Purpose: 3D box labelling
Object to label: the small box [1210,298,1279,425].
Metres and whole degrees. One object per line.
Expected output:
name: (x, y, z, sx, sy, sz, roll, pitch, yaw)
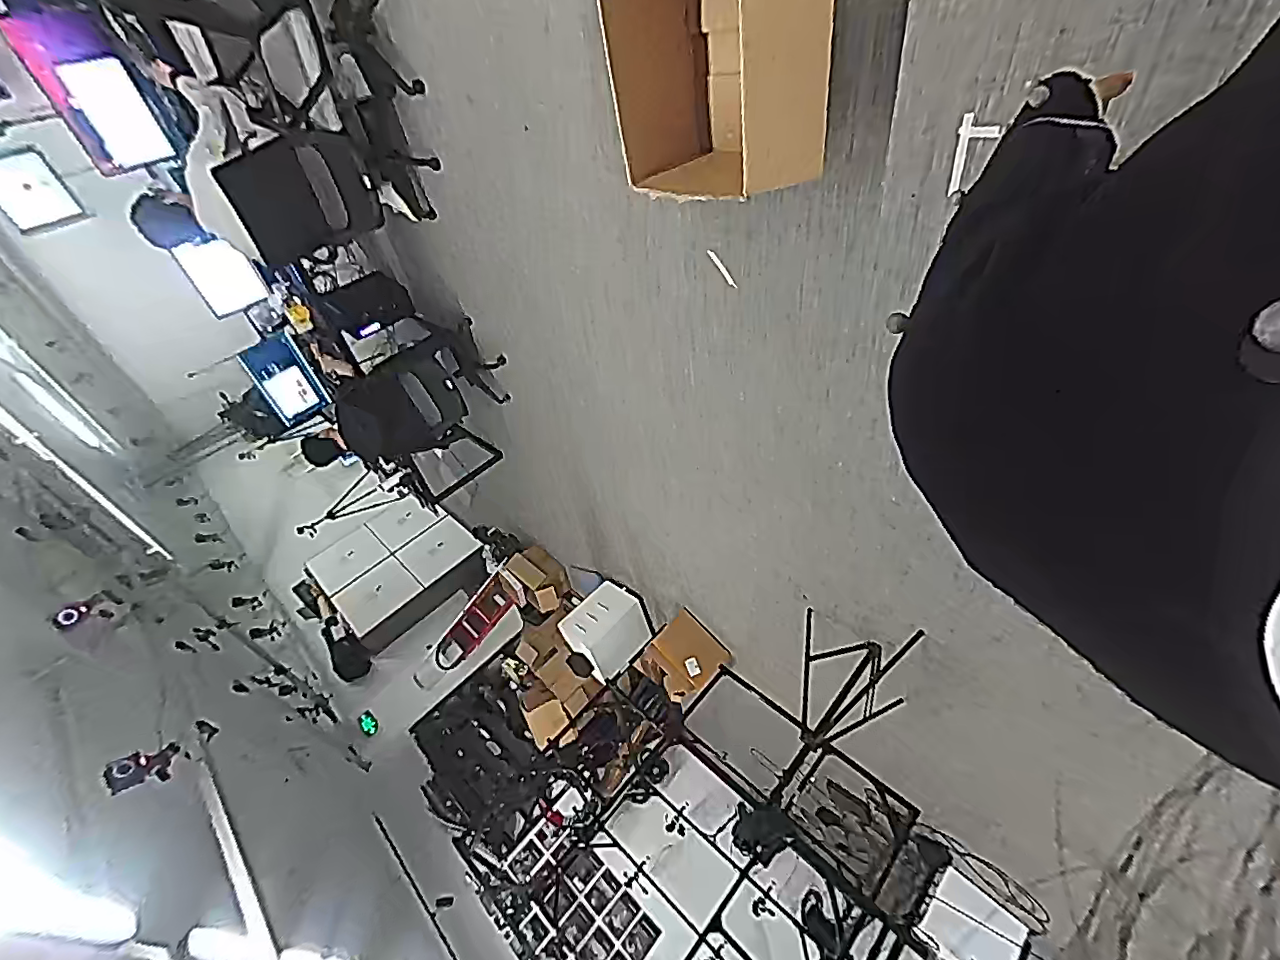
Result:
small box: (1.181, -0.207, 0.950, 0.179, 0.176, 0.168, 34, 146, 31)
